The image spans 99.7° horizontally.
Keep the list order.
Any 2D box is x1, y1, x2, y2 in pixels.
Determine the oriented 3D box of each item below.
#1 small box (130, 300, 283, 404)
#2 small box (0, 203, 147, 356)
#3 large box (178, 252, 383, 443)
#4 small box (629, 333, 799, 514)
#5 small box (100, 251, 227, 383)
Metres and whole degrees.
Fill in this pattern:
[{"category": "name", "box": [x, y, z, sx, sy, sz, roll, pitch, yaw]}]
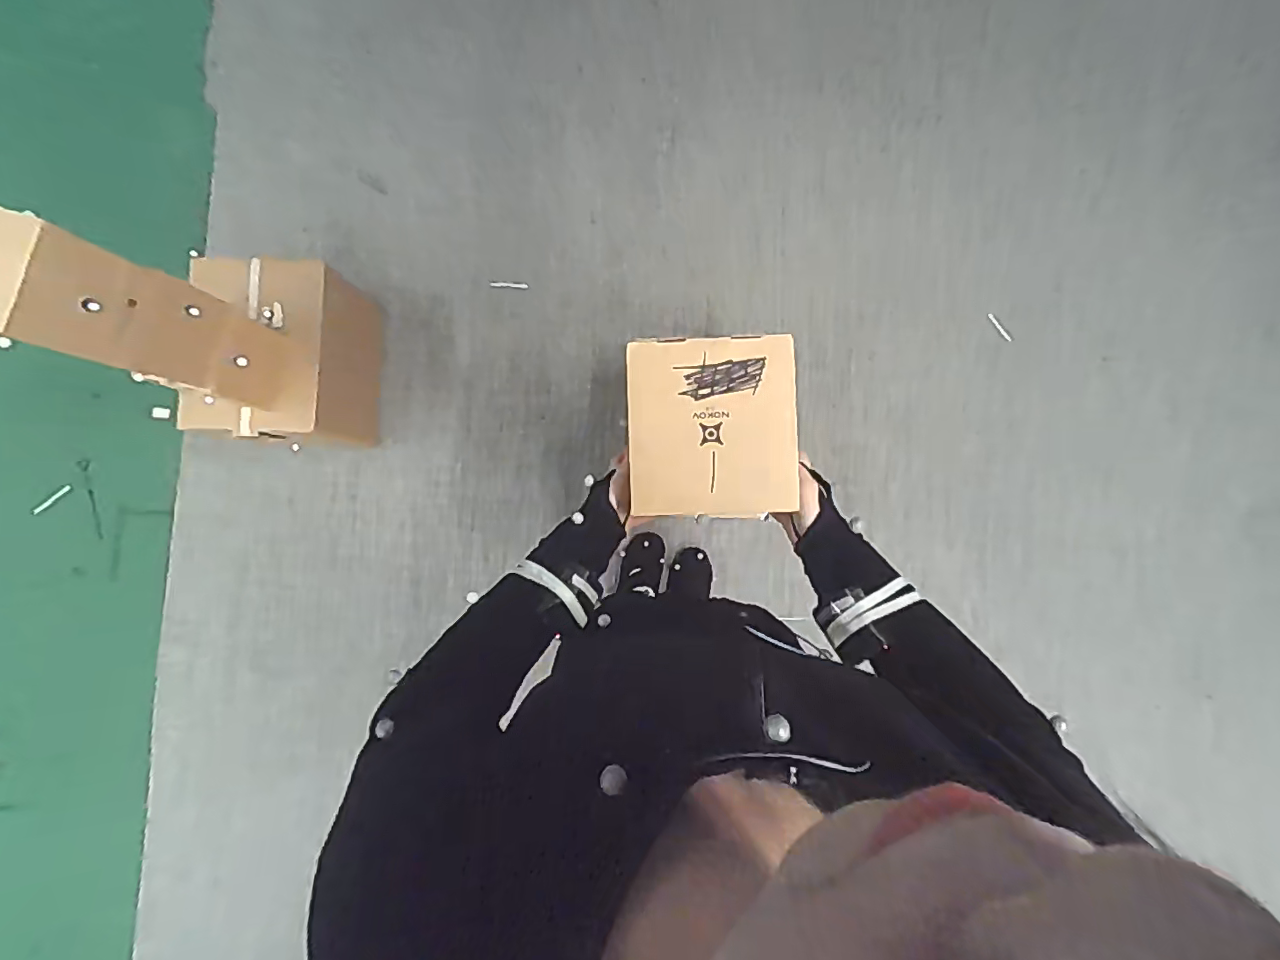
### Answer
[{"category": "small box", "box": [-0.886, -0.273, 1.125, 0.168, 0.176, 0.179, 12, 87, 1]}, {"category": "small box", "box": [-0.900, -0.296, 0.799, 0.179, 0.176, 0.168, 16, 87, 1]}, {"category": "large box", "box": [-0.881, -0.309, 1.370, 0.320, 0.320, 0.408, 1, 86, -1]}, {"category": "small box", "box": [0.074, -0.052, 0.605, 0.168, 0.176, 0.179, -2, 89, 3]}, {"category": "small box", "box": [-0.891, -0.291, 0.963, 0.168, 0.176, 0.179, 16, 88, 2]}]
